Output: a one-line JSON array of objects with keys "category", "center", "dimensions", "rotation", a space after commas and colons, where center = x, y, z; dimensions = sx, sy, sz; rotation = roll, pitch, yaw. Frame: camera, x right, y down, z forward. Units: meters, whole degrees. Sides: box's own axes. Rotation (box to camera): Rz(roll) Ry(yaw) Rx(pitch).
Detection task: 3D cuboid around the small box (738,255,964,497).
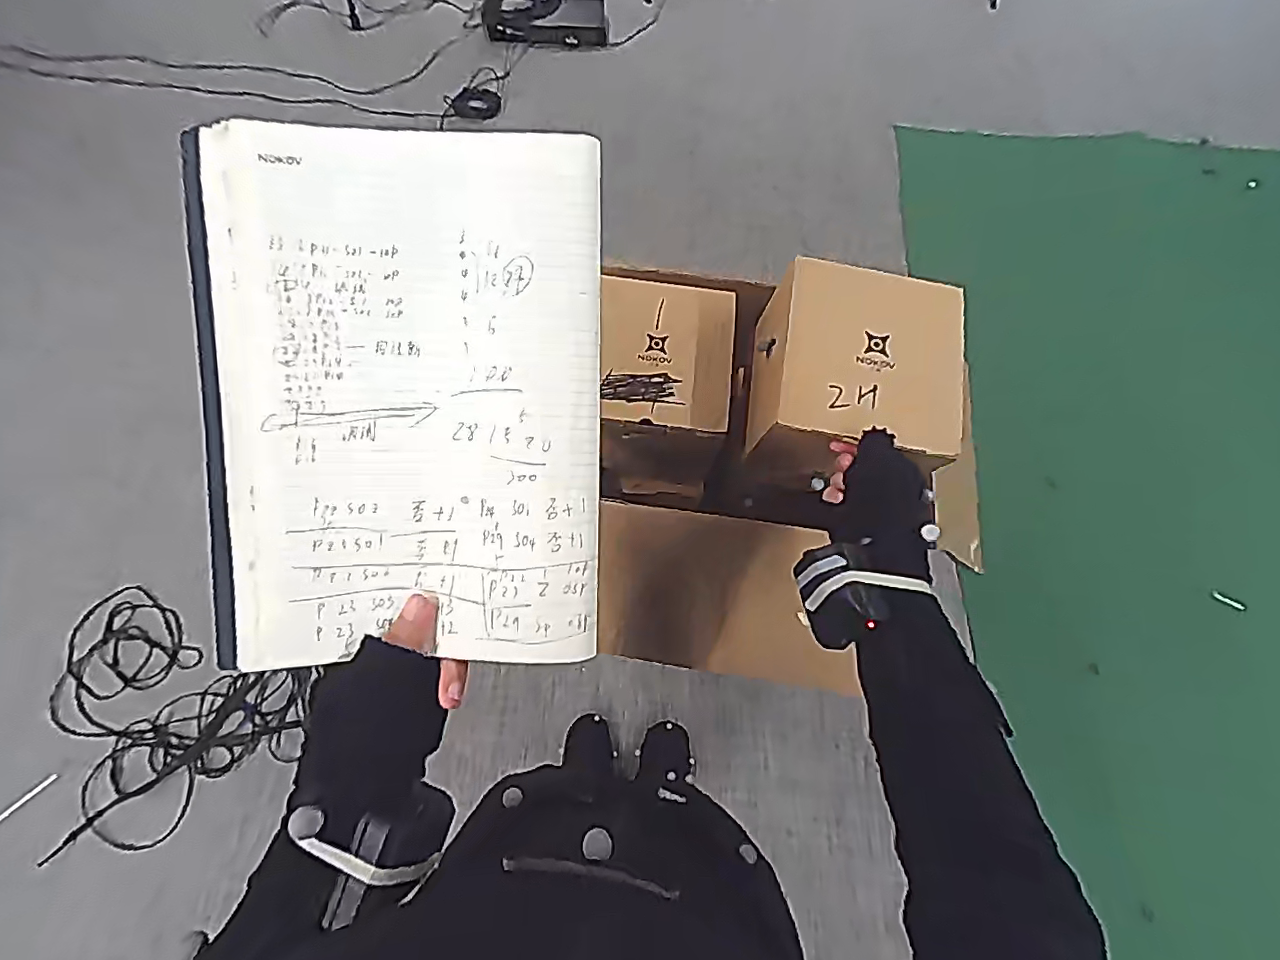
[{"category": "small box", "center": [0.208, -0.097, 0.569], "dimensions": [0.168, 0.176, 0.179], "rotation": [11, 74, 0]}]
